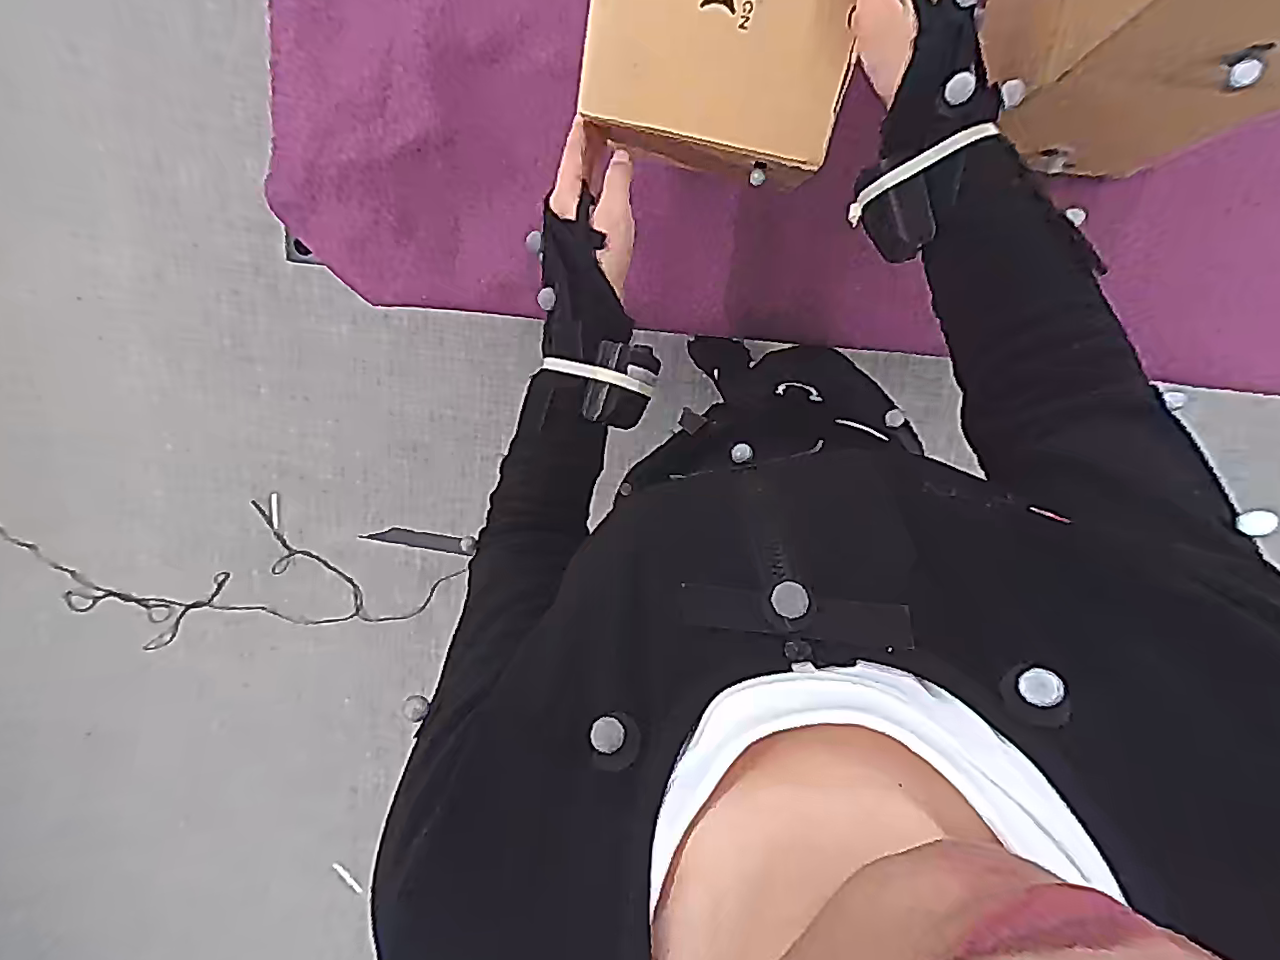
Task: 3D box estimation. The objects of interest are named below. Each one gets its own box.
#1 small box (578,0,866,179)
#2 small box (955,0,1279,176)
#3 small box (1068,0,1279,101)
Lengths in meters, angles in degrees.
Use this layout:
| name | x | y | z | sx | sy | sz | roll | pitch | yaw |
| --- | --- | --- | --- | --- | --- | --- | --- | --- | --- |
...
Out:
| name | x | y | z | sx | sy | sz | roll | pitch | yaw |
| --- | --- | --- | --- | --- | --- | --- | --- | --- | --- |
| small box | 0.066 | -0.345 | 0.415 | 0.179 | 0.176 | 0.168 | 13 | 113 | 1 |
| small box | 0.387 | -0.373 | 0.433 | 0.168 | 0.176 | 0.179 | 10 | 105 | 6 |
| small box | 0.370 | -0.334 | 0.273 | 0.168 | 0.176 | 0.179 | 10 | 104 | 6 |
